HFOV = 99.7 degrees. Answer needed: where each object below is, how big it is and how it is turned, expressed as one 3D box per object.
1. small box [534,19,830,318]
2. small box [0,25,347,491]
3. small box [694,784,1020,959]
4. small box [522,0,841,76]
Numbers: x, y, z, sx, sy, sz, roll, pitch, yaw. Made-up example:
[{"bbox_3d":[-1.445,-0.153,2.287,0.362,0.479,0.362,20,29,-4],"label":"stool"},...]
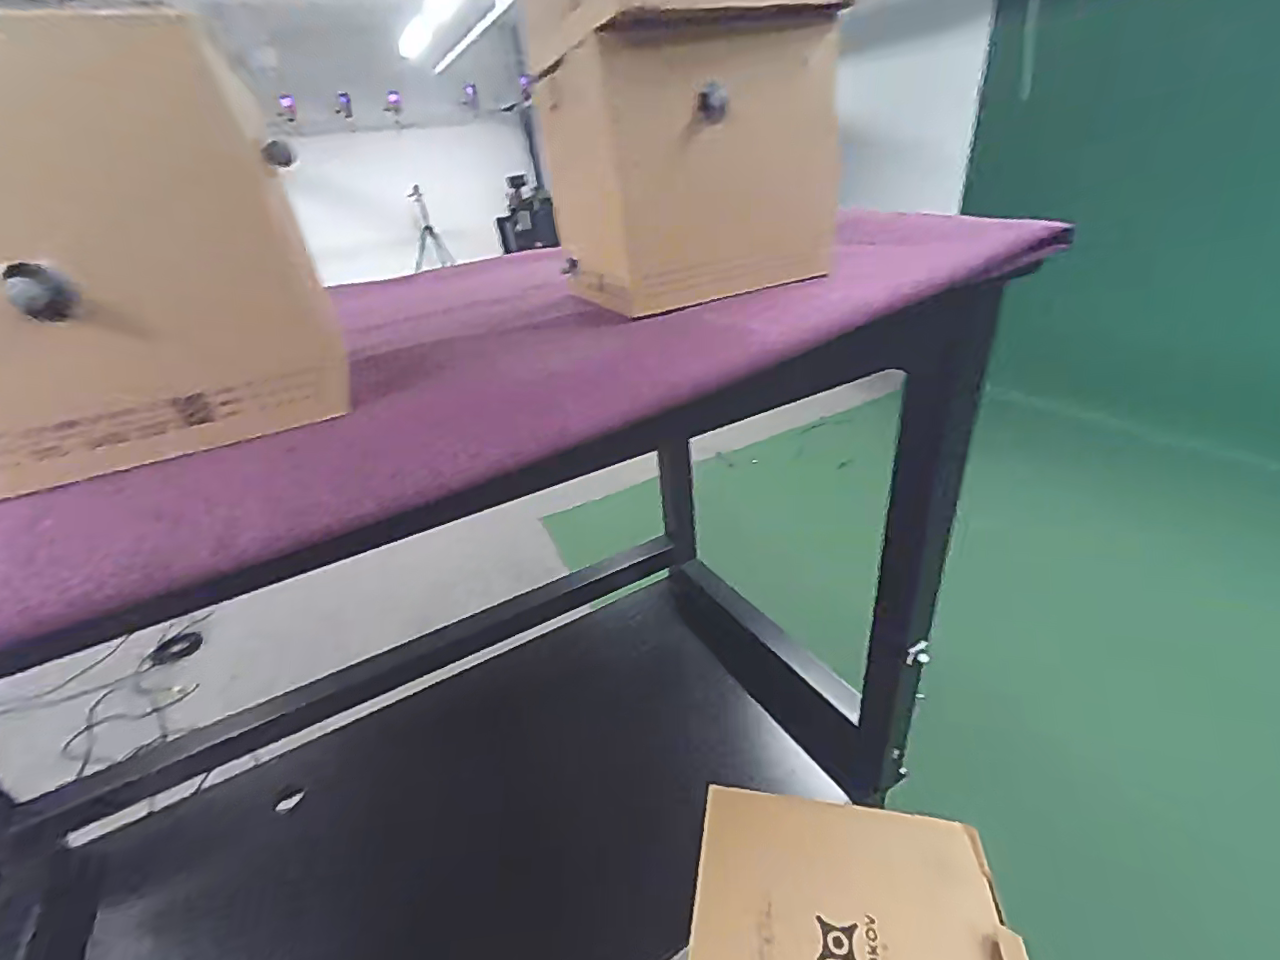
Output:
[{"bbox_3d":[0.032,-0.238,0.438,0.179,0.176,0.168,-18,30,-17],"label":"small box"},{"bbox_3d":[-0.269,-0.108,0.283,0.168,0.176,0.179,-18,32,-20],"label":"small box"},{"bbox_3d":[0.130,0.334,0.343,0.179,0.176,0.168,0,28,16],"label":"small box"},{"bbox_3d":[0.016,-0.372,0.347,0.179,0.176,0.168,-20,31,-20],"label":"small box"}]
